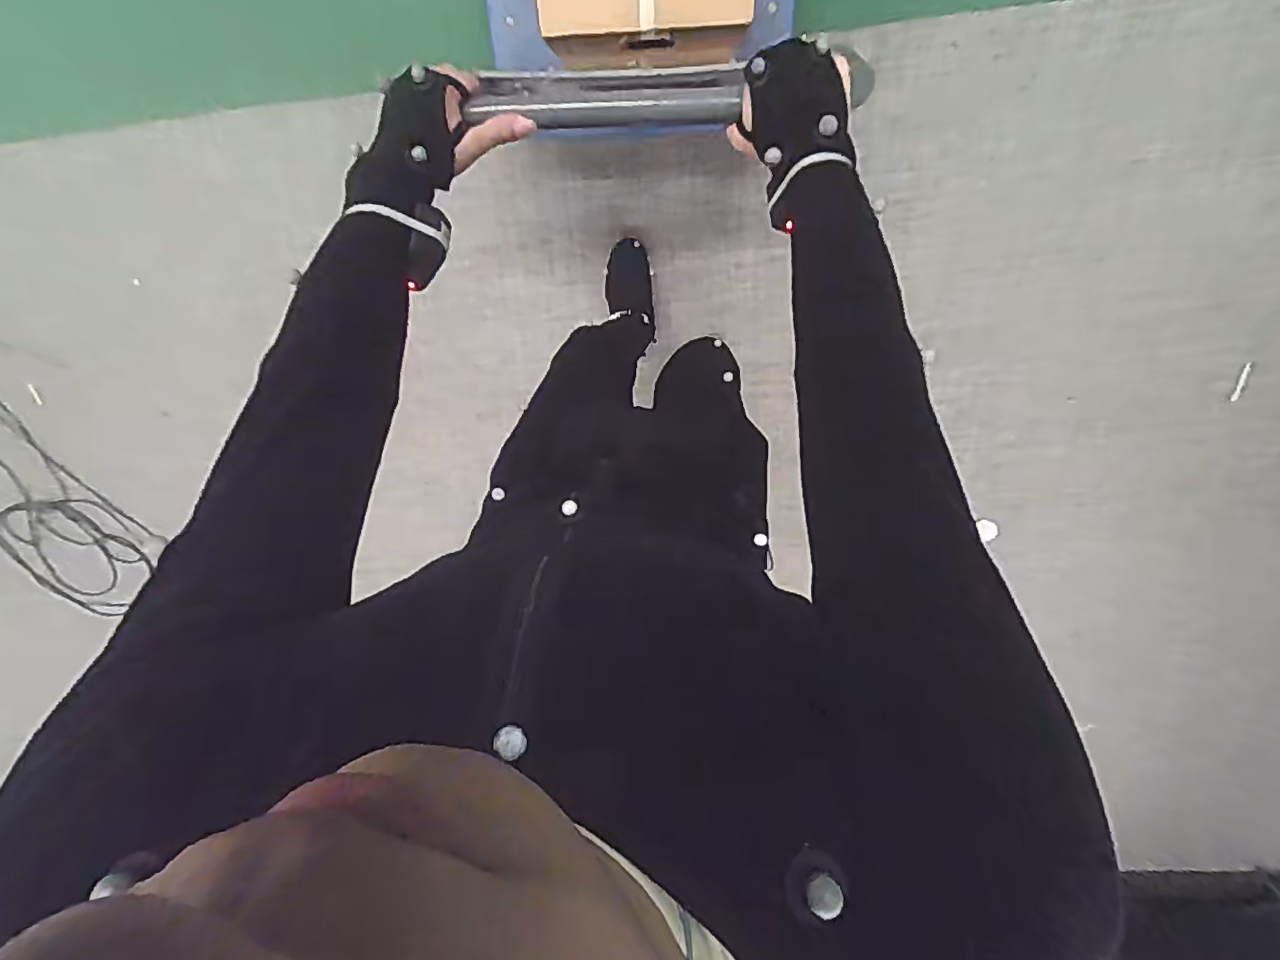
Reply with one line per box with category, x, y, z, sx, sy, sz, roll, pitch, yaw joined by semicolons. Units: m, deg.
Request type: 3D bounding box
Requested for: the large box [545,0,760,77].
large box;0.016;-0.899;0.829;0.320;0.320;0.408;-1;119;3
